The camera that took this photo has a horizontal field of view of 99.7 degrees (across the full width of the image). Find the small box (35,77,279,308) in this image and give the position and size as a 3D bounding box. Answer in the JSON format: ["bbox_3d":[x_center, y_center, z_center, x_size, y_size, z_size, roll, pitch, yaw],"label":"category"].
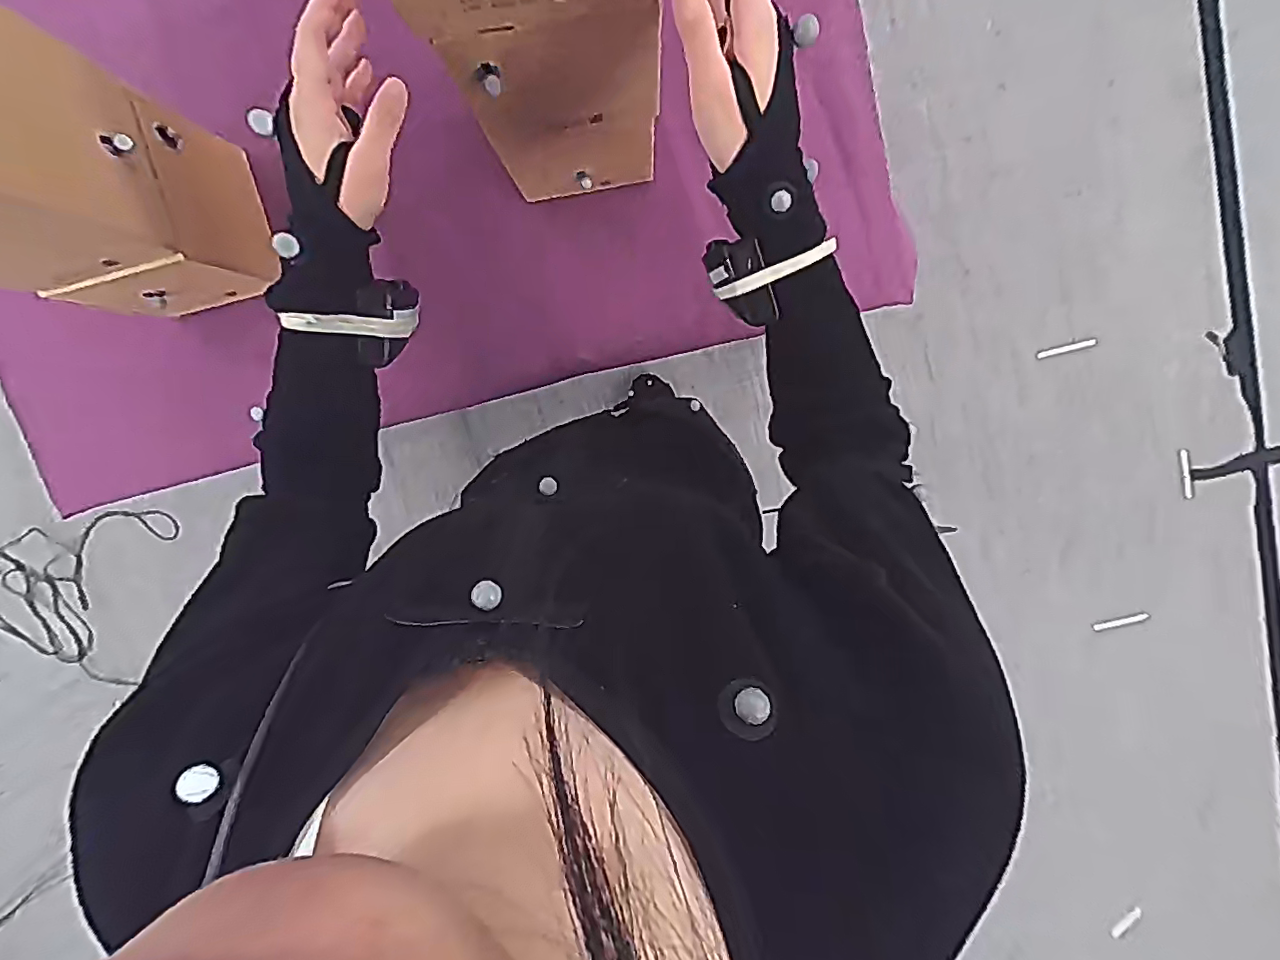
[{"bbox_3d":[-0.563,-0.307,0.623,0.168,0.176,0.179,-13,98,2],"label":"small box"}]

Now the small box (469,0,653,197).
[{"bbox_3d":[-0.080,-0.443,0.596,0.168,0.176,0.179,-8,99,3],"label":"small box"}]

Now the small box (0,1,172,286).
[{"bbox_3d":[-0.567,-0.287,0.461,0.168,0.176,0.179,-14,98,2],"label":"small box"}]
